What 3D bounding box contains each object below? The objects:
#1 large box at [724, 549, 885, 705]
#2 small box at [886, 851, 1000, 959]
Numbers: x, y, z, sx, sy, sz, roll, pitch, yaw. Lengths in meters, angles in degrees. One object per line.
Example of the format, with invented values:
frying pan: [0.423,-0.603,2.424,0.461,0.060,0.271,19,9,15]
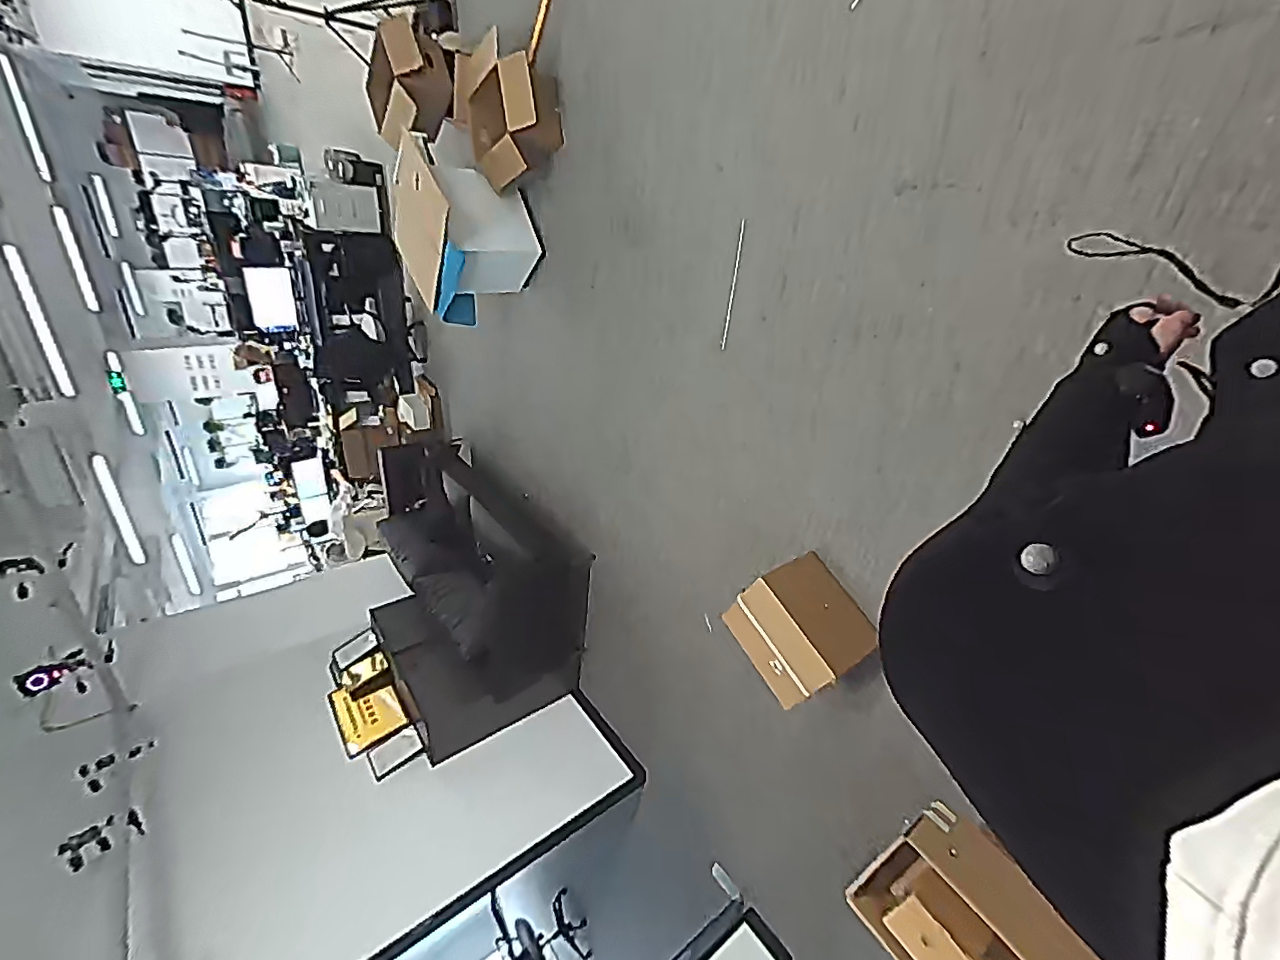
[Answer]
large box: [0.597,0.533,1.999,0.408,0.320,0.320,54,140,24]
small box: [0.777,1.107,1.384,0.168,0.176,0.179,42,132,36]
